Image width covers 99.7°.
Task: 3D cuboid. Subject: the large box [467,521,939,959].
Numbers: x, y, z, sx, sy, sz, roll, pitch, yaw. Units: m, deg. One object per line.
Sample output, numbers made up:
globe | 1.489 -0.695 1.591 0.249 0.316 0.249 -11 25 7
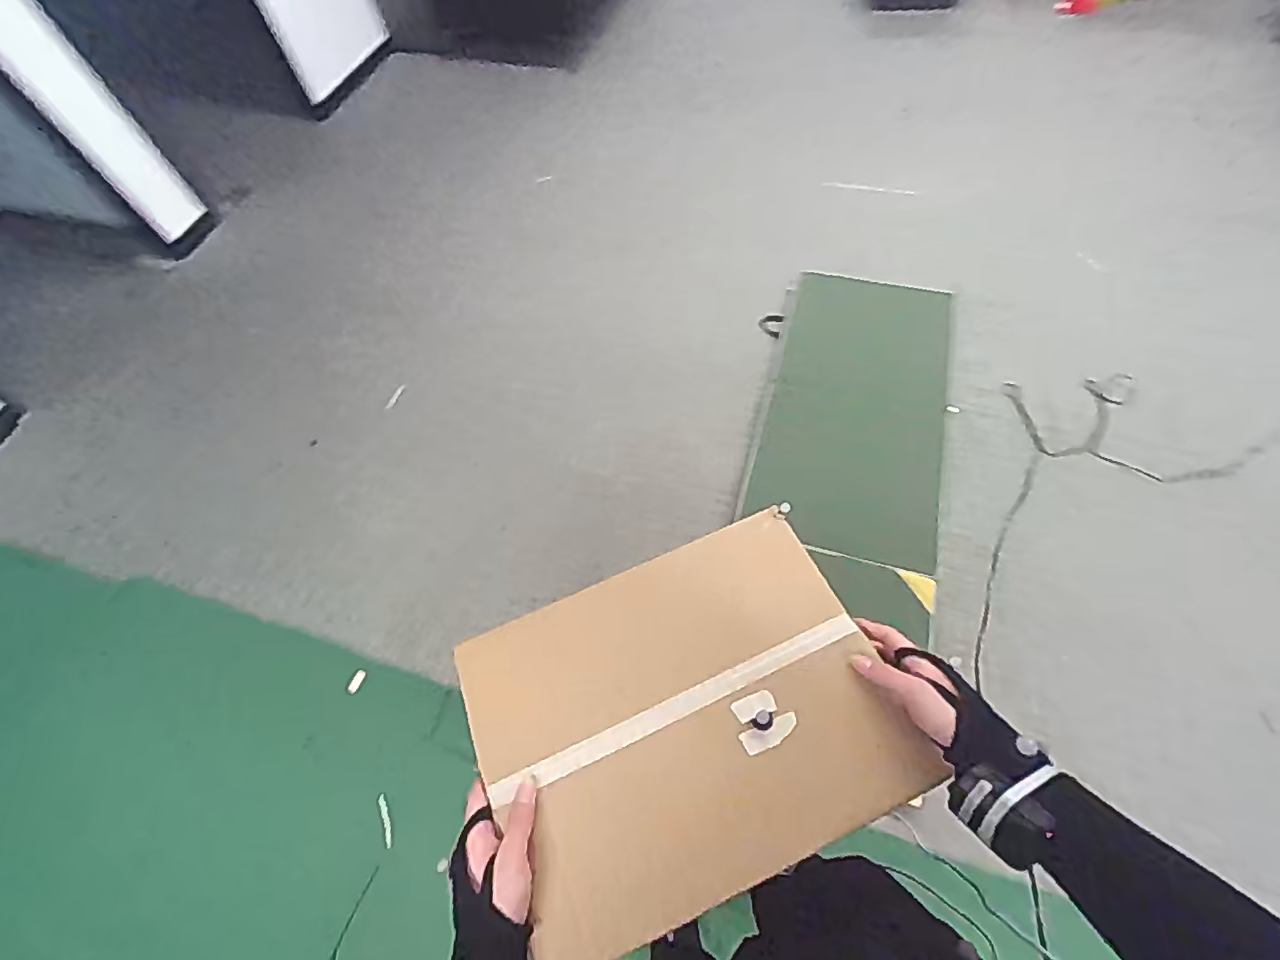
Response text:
large box | 0.056 0.318 0.679 0.408 0.320 0.320 -22 60 -8
